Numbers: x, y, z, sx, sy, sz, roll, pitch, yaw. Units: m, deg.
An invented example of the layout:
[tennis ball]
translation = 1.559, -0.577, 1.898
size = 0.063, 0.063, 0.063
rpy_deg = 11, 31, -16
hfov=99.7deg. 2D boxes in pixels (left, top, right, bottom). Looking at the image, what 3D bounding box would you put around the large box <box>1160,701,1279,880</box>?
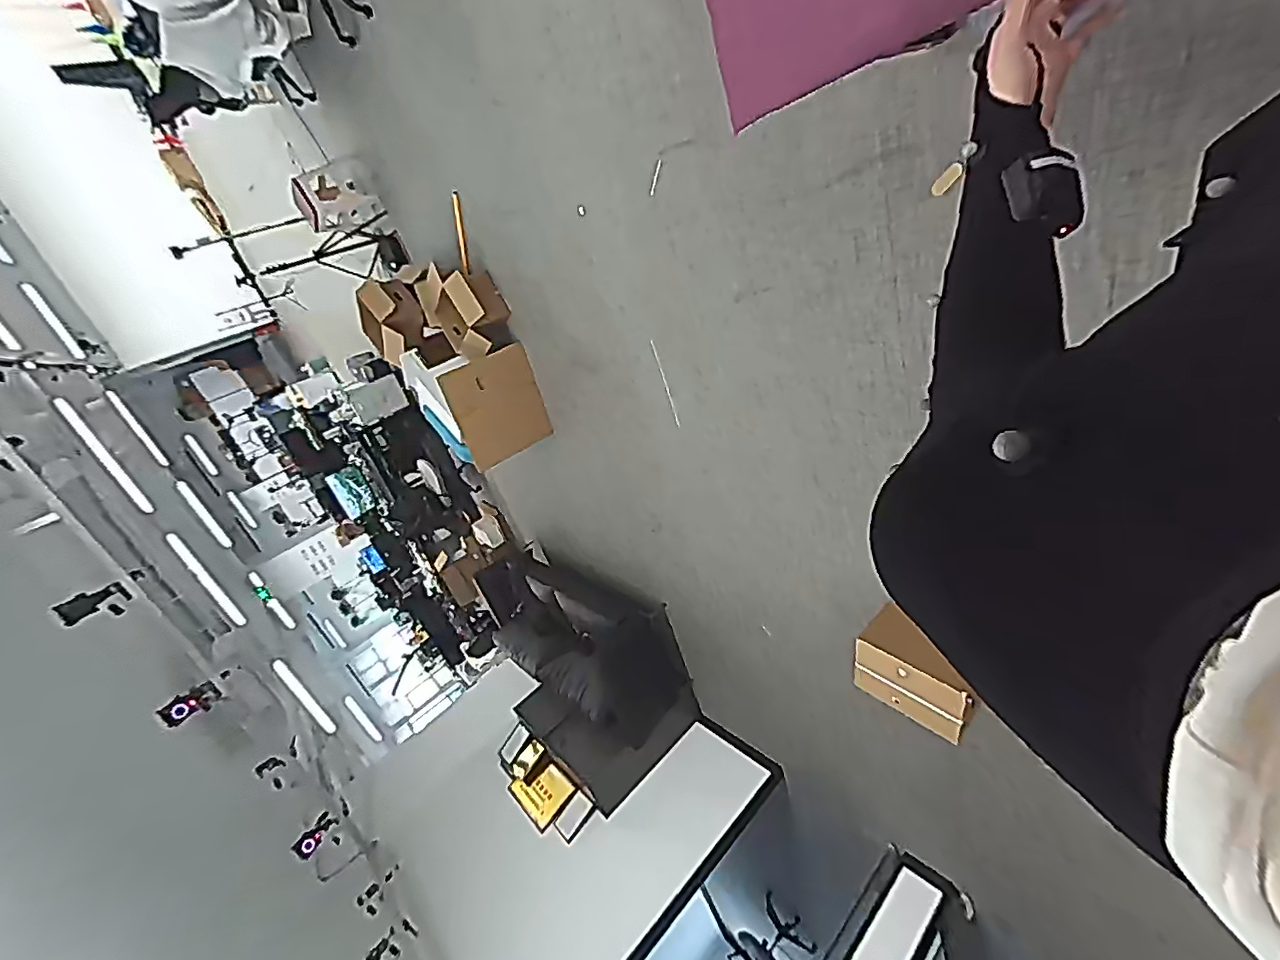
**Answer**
[large box]
translation = 1.686, 0.790, 1.374
size = 0.320, 0.320, 0.408
rpy_deg = 52, 150, 3
